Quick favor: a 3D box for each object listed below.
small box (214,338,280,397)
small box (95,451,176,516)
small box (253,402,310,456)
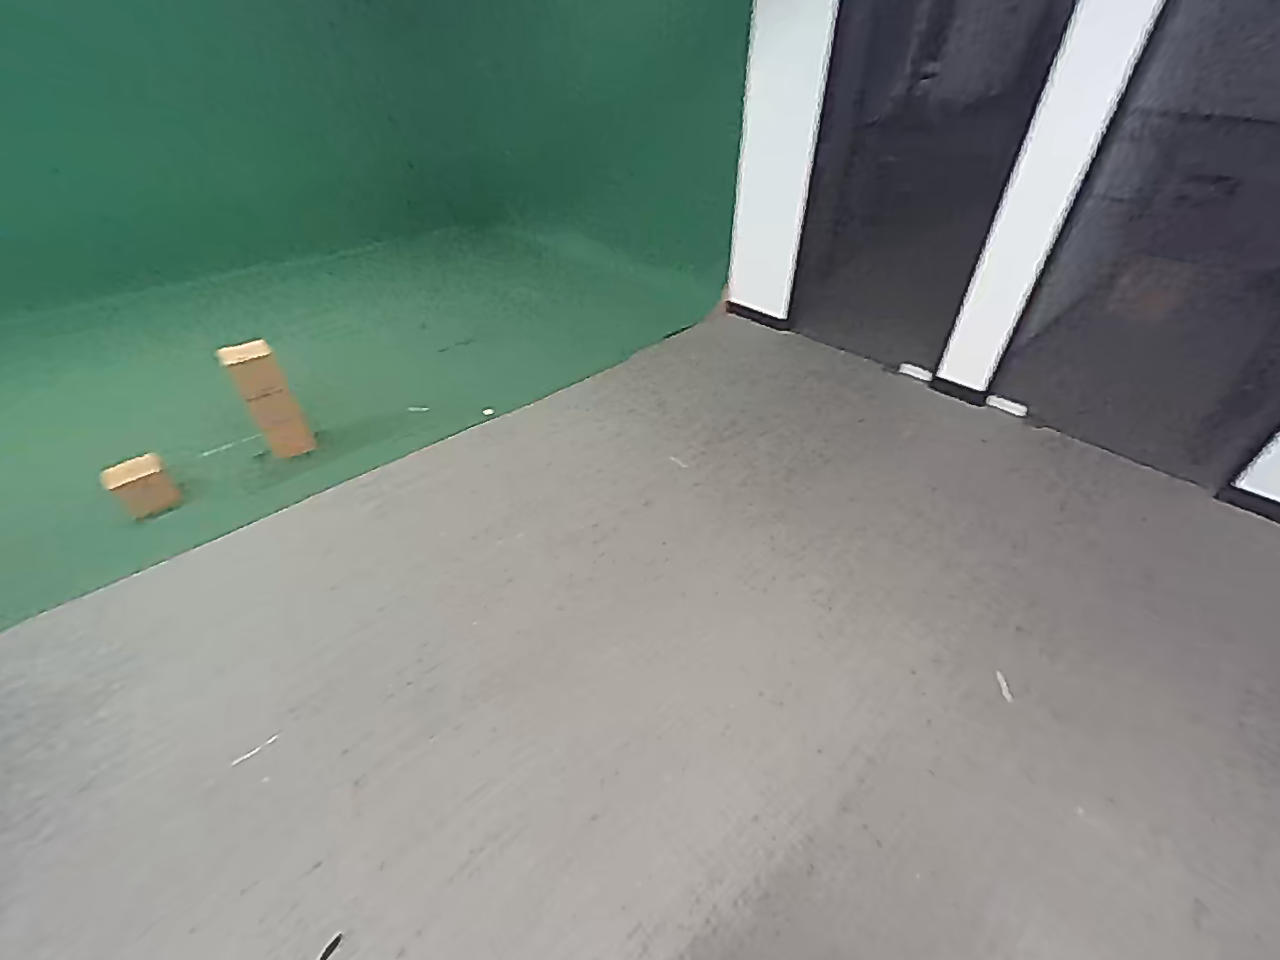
[{"bbox_3d":[-1.646,-0.471,2.268,0.168,0.176,0.179,-27,46,-29],"label":"small box"},{"bbox_3d":[-2.050,0.016,2.199,0.179,0.176,0.168,-31,50,-31],"label":"small box"},{"bbox_3d":[-1.649,-0.229,2.491,0.168,0.176,0.179,-24,46,-26],"label":"small box"}]
